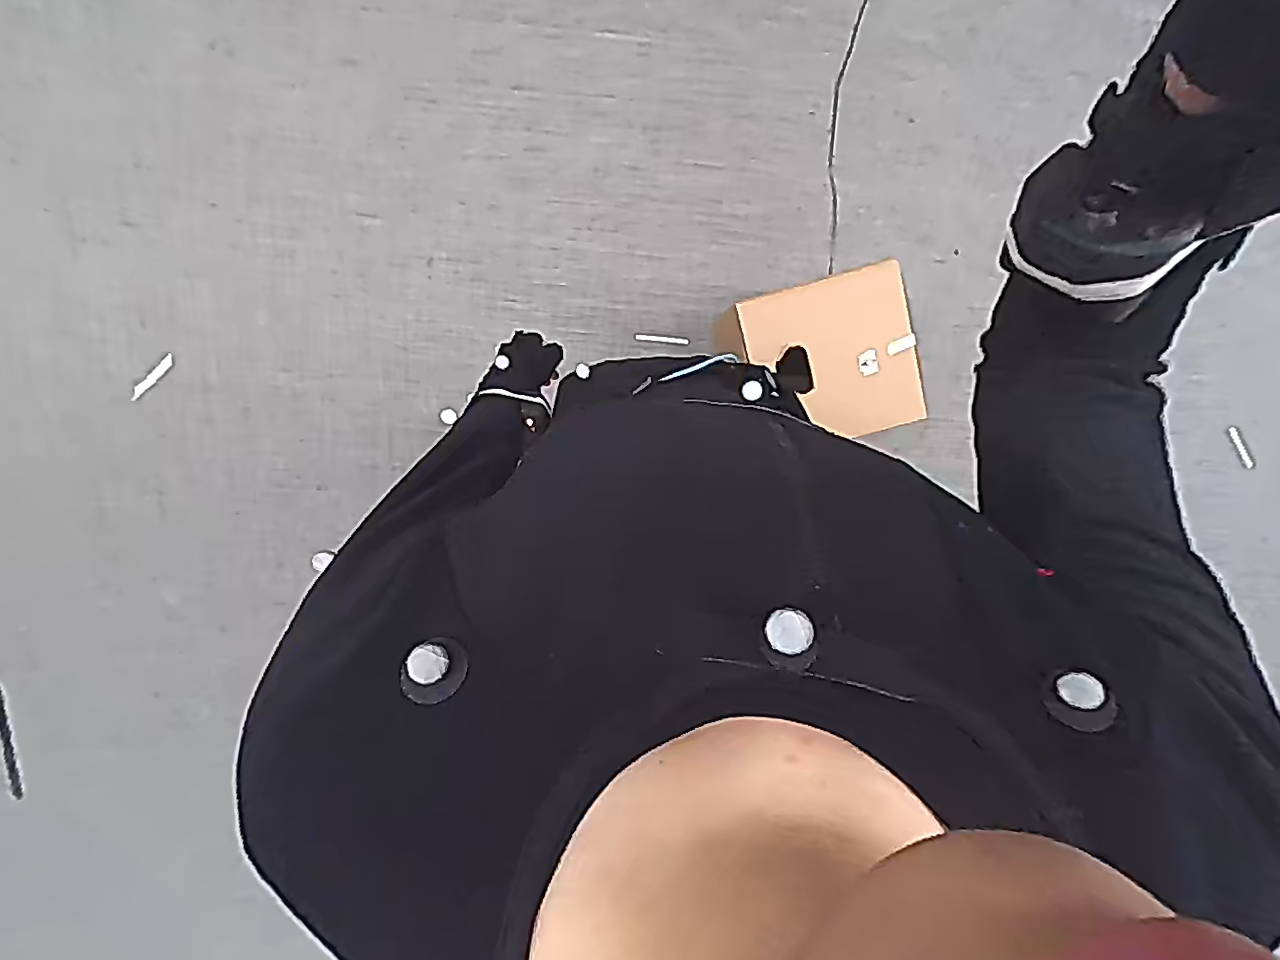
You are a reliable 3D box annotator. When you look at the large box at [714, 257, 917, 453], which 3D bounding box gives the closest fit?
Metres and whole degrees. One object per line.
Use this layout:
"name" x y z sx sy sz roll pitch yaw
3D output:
"large box" 0.372 -0.272 1.238 0.320 0.408 0.320 -14 100 5
